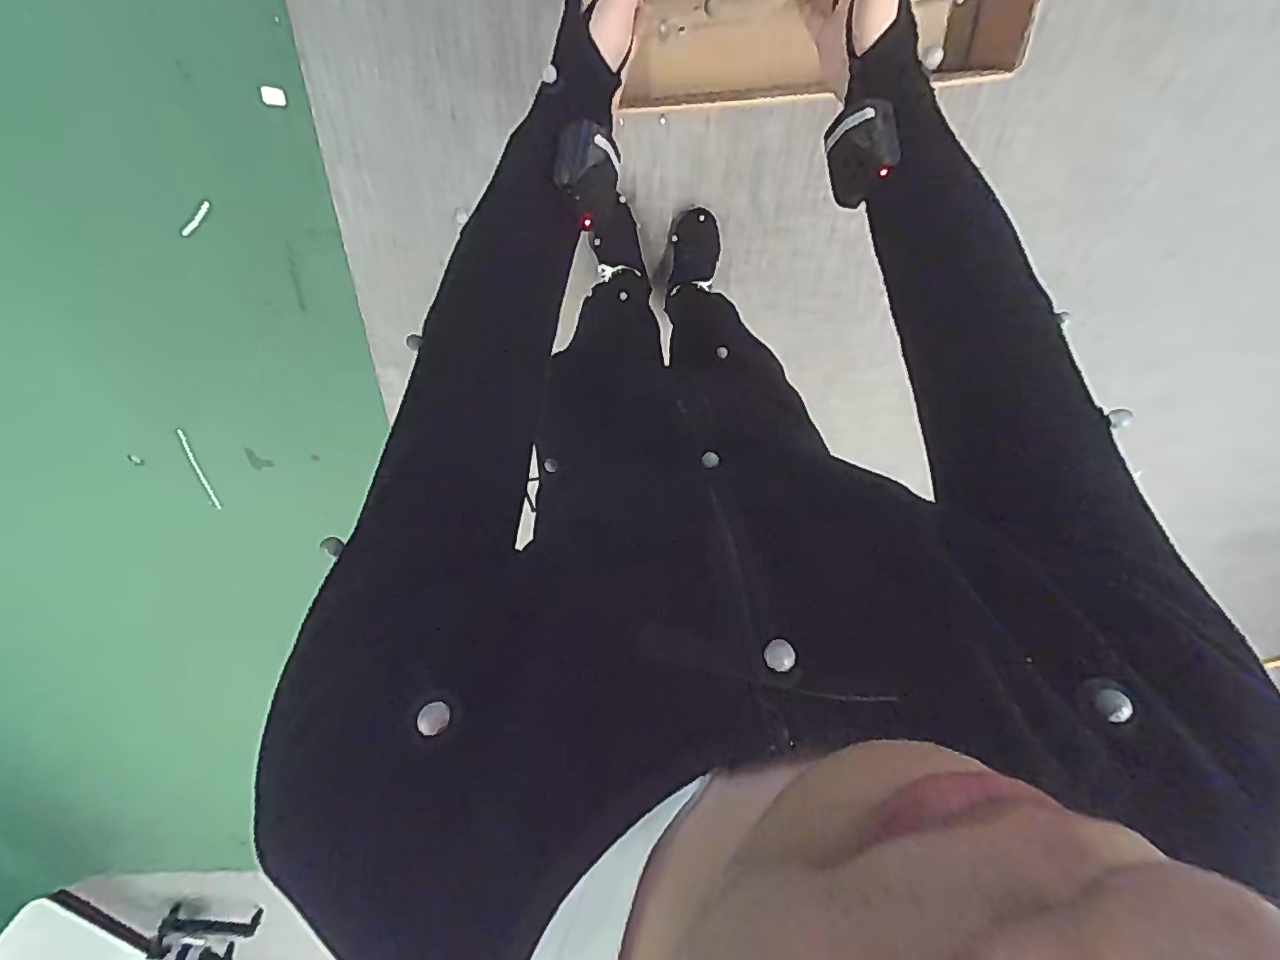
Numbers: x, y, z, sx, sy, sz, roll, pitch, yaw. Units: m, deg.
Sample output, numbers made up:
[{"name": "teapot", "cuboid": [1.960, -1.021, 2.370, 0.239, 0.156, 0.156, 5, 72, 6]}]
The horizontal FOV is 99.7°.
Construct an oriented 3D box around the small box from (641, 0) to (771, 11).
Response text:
[{"name": "small box", "cuboid": [0.077, -0.606, 0.557, 0.168, 0.176, 0.179, -2, 125, 1]}]
